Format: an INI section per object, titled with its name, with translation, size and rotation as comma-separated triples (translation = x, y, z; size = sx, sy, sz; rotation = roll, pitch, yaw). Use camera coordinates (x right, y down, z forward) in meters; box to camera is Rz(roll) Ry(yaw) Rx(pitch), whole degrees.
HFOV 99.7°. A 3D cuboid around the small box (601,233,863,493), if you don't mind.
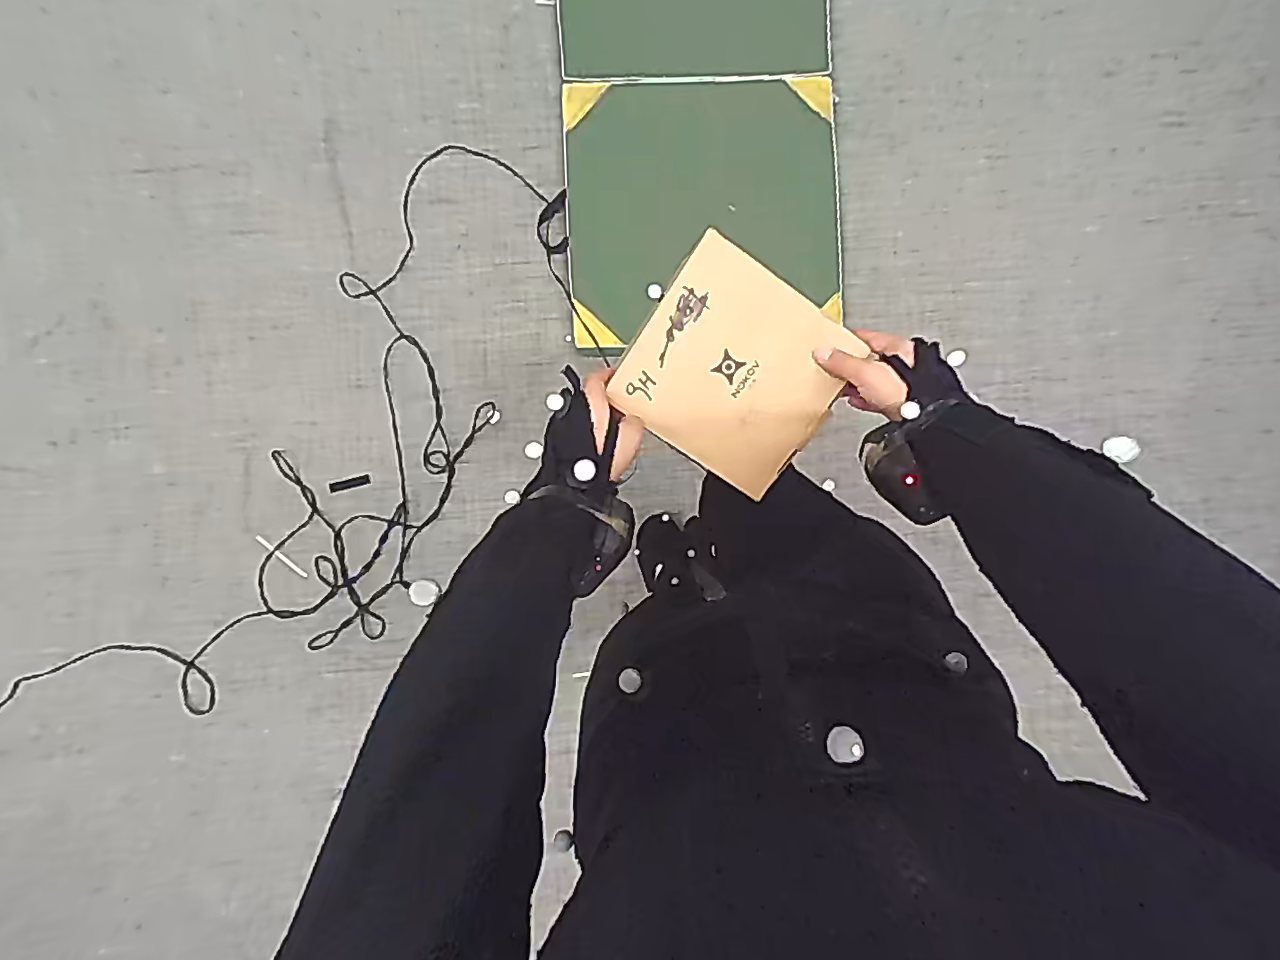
[small box]
translation = 0.079, -0.118, 0.551
size = 0.179, 0.176, 0.168
rotation = 33, 102, -9
